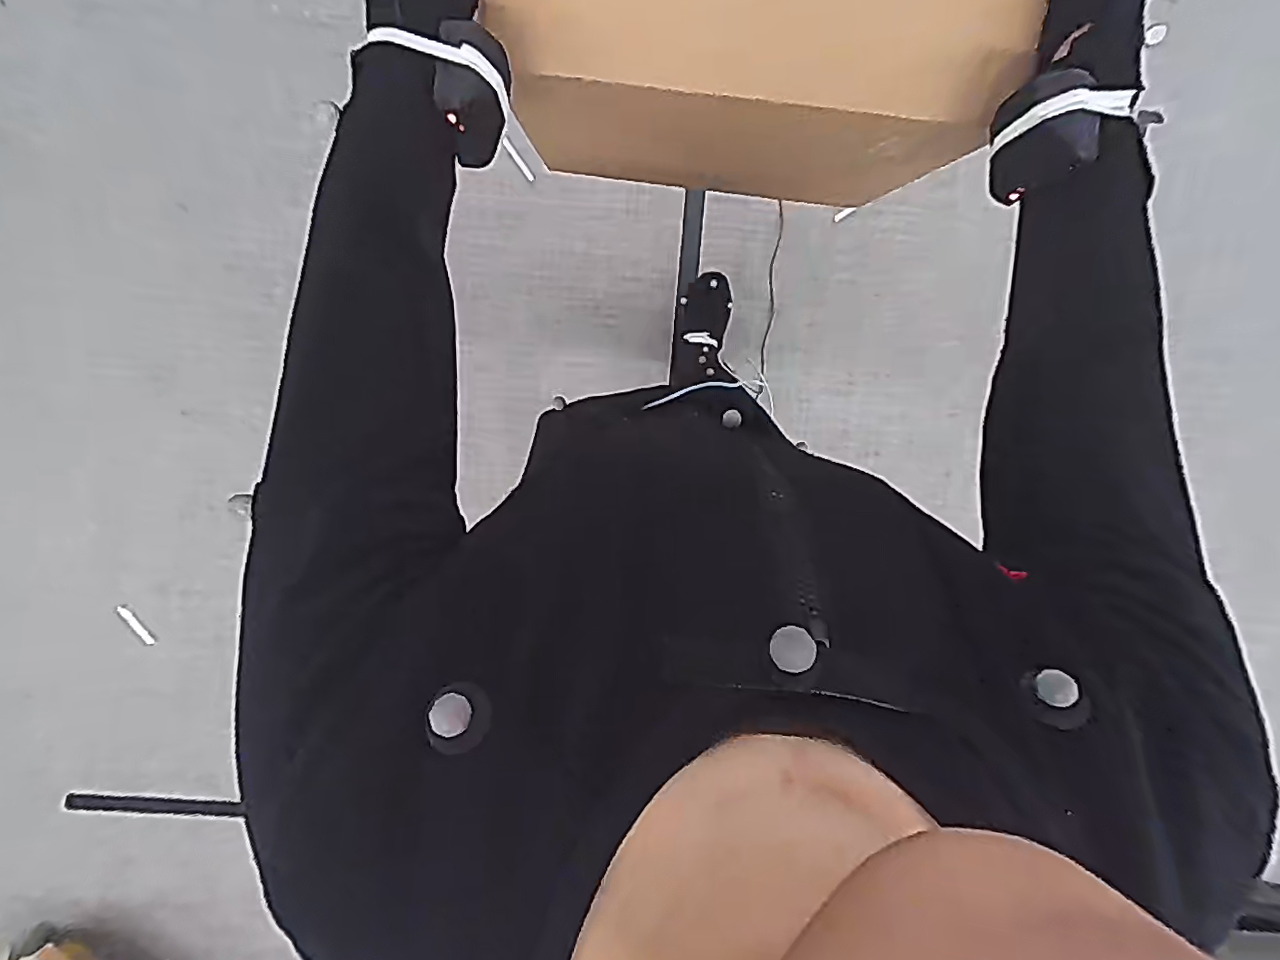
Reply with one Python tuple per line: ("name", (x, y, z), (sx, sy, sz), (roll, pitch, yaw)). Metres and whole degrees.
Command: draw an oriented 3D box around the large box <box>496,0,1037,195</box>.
("large box", (0.098, -0.485, 0.509), (0.408, 0.320, 0.320), (5, 108, -2))
